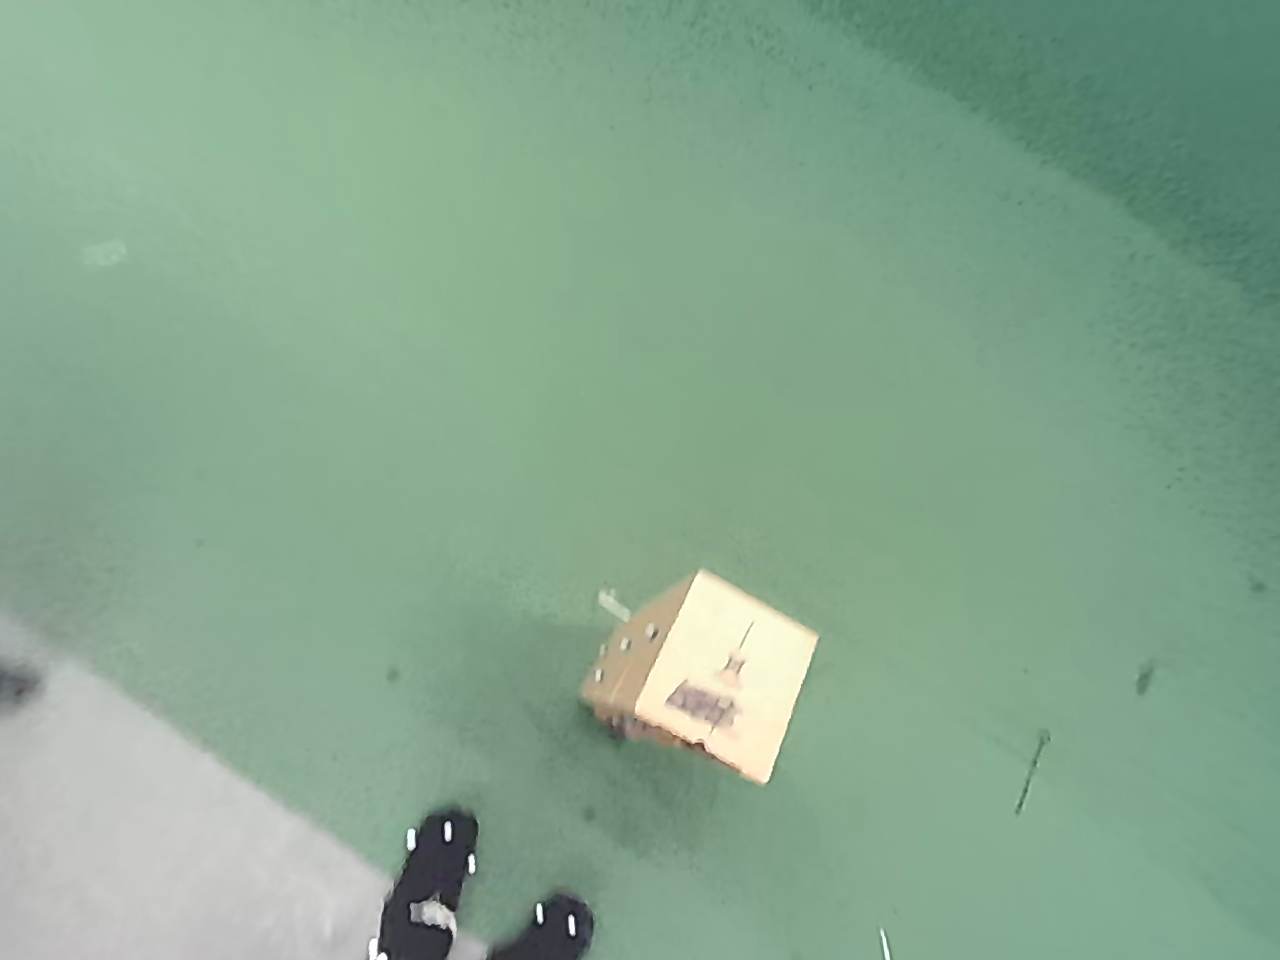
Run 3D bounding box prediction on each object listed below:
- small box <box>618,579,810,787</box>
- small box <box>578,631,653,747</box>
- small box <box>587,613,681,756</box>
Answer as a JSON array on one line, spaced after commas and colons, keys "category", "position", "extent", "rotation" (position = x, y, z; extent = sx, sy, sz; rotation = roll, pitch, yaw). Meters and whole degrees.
[{"category": "small box", "position": [0.082, 0.250, 0.685], "extent": [0.168, 0.176, 0.179], "rotation": [27, 68, -2]}, {"category": "small box", "position": [-0.017, 0.426, 1.132], "extent": [0.168, 0.176, 0.179], "rotation": [32, 66, 1]}, {"category": "small box", "position": [0.016, 0.367, 0.984], "extent": [0.168, 0.176, 0.179], "rotation": [30, 67, 0]}]
